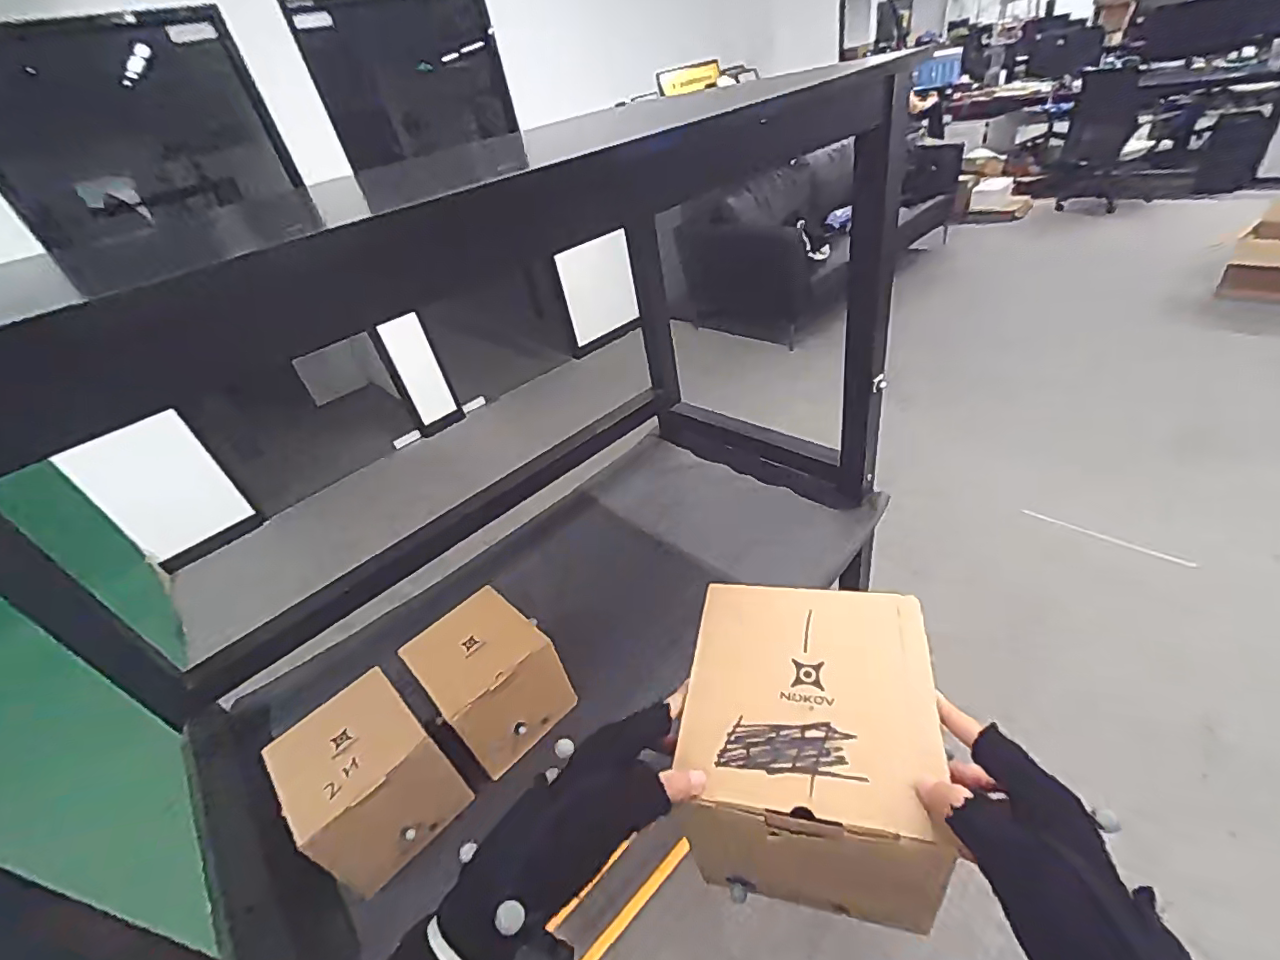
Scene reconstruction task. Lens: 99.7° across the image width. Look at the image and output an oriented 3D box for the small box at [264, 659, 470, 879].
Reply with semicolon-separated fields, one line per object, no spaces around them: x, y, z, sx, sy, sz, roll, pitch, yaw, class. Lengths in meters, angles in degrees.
-0.367;0.393;0.743;0.168;0.176;0.179;-37;42;-29;small box
